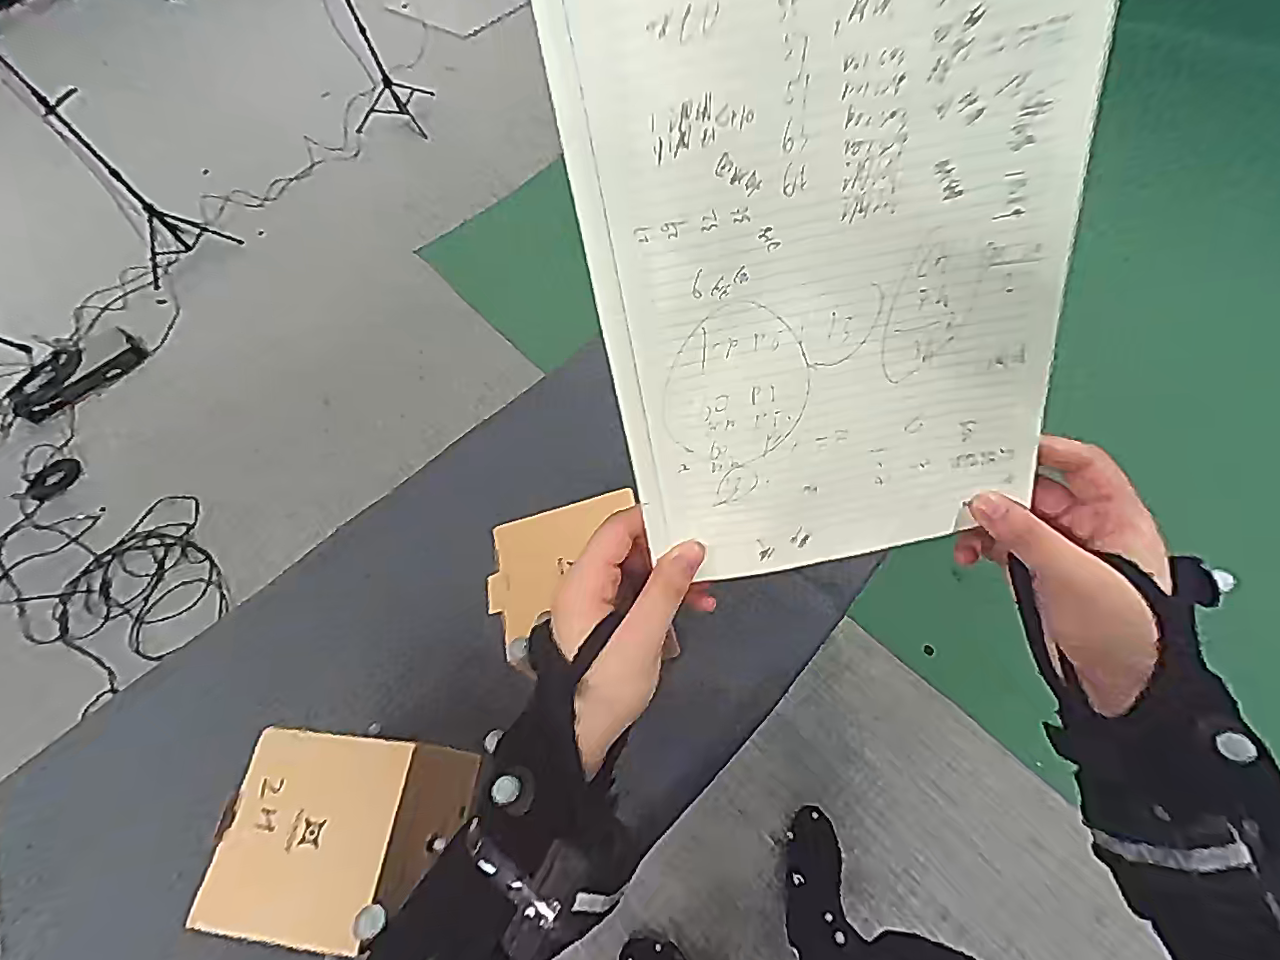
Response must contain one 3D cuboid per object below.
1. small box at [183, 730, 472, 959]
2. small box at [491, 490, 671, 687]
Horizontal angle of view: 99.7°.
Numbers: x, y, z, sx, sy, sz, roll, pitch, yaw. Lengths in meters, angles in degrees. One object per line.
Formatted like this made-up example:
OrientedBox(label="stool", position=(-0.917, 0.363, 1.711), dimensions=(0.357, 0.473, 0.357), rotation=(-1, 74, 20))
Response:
OrientedBox(label="small box", position=(-0.303, 0.370, 0.573), dimensions=(0.179, 0.176, 0.168), rotation=(1, 60, 10))
OrientedBox(label="small box", position=(-0.064, 0.140, 0.667), dimensions=(0.179, 0.176, 0.168), rotation=(-17, 58, 1))
